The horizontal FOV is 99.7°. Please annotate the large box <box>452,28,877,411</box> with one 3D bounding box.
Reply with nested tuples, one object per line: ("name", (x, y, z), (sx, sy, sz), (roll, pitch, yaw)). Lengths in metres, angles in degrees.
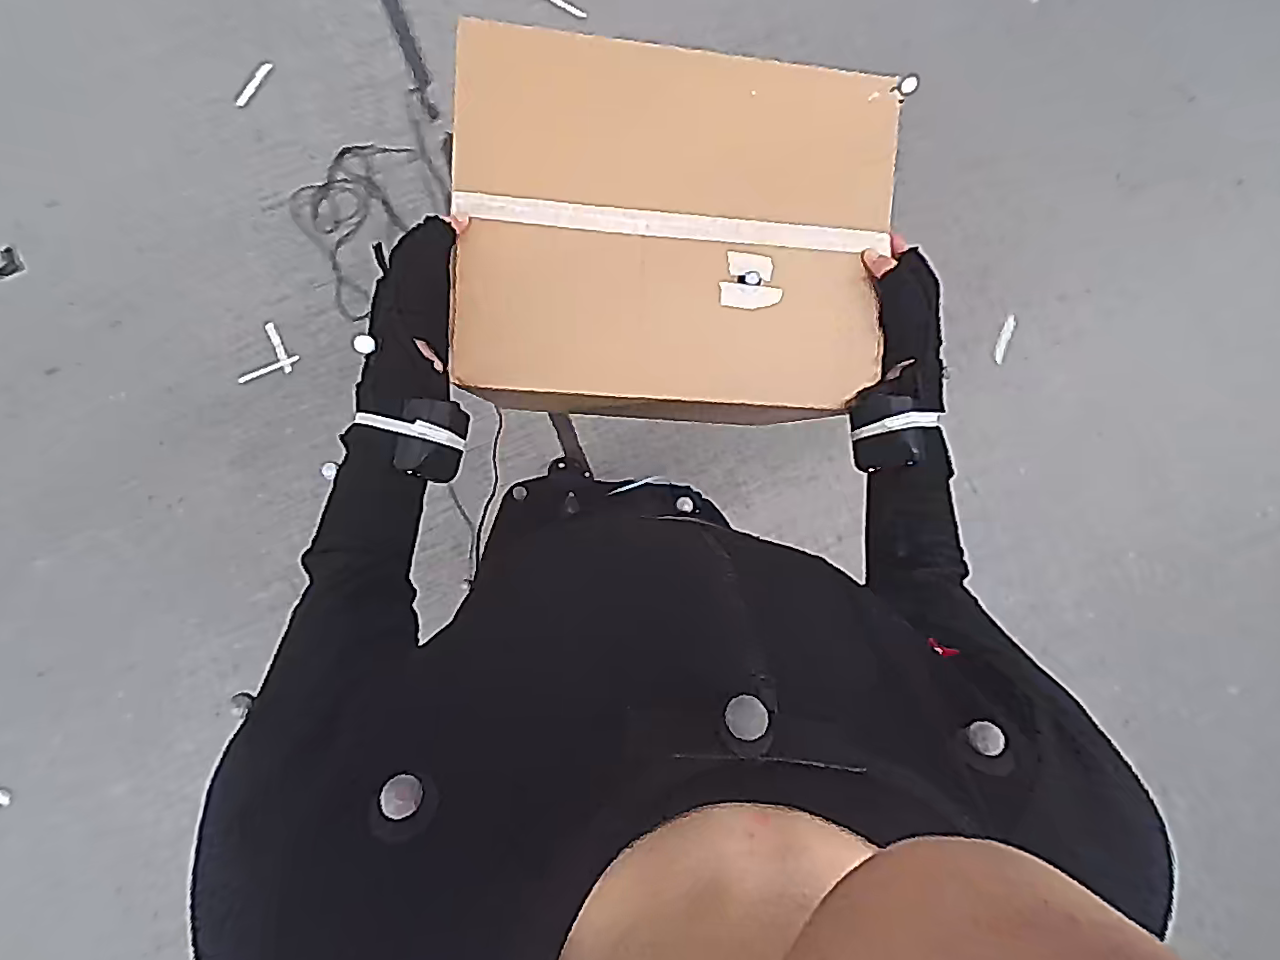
("large box", (0.009, -0.252, 0.654), (0.408, 0.320, 0.320), (2, 95, -7))
